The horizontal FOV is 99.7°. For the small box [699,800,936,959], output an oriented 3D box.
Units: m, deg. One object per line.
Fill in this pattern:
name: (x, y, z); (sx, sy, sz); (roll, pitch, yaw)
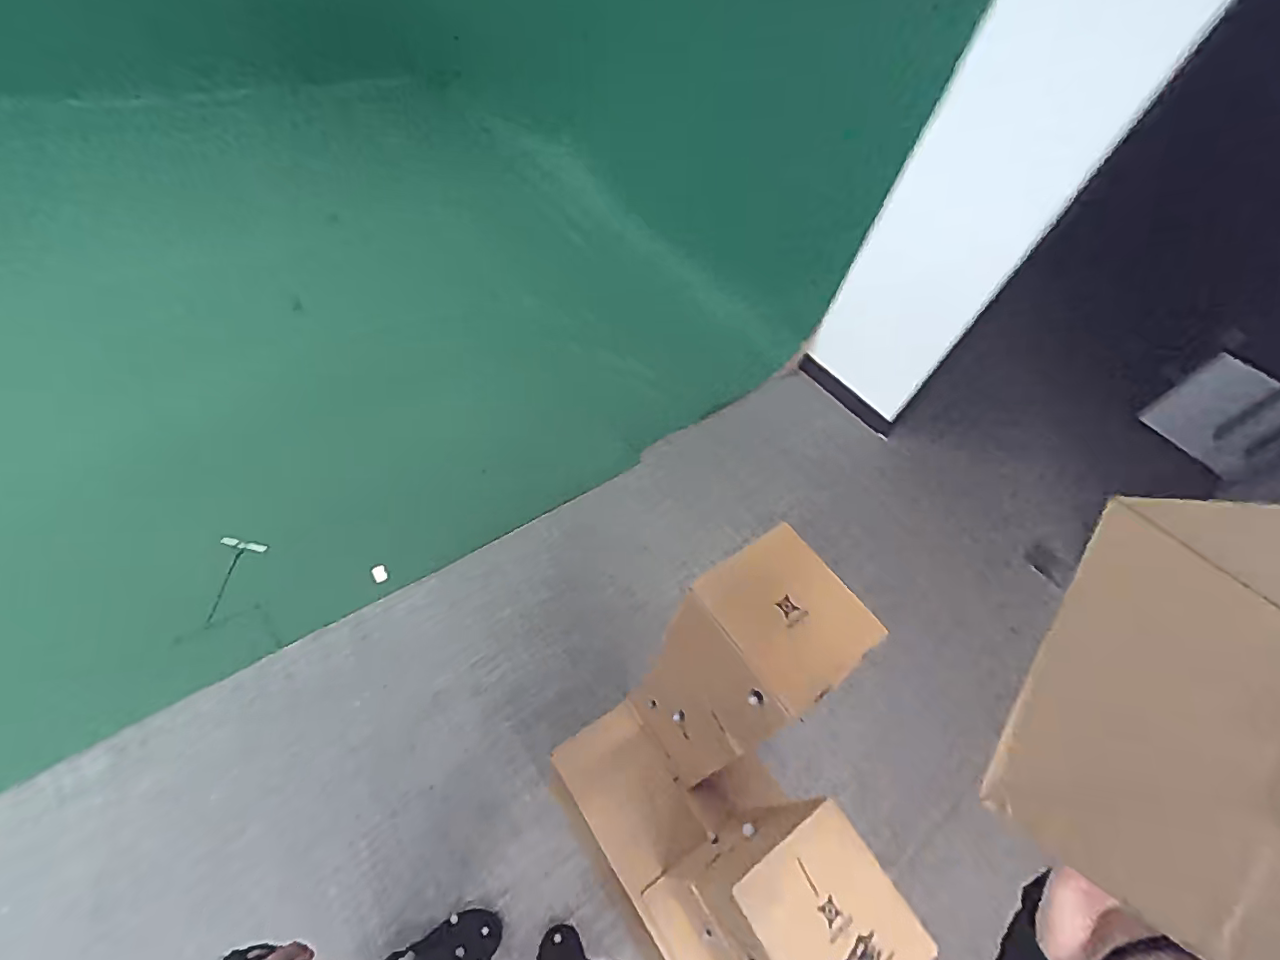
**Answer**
small box: (0.197, 0.520, 0.649); (0.168, 0.176, 0.179); (-24, 63, -25)

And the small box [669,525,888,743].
small box: (0.157, 0.194, 0.676); (0.168, 0.176, 0.179); (-27, 63, -27)

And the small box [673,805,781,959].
small box: (0.167, 0.611, 0.782); (0.168, 0.176, 0.179); (-25, 63, -24)

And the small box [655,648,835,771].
small box: (0.143, 0.299, 0.801); (0.179, 0.176, 0.168); (-22, 60, -24)
